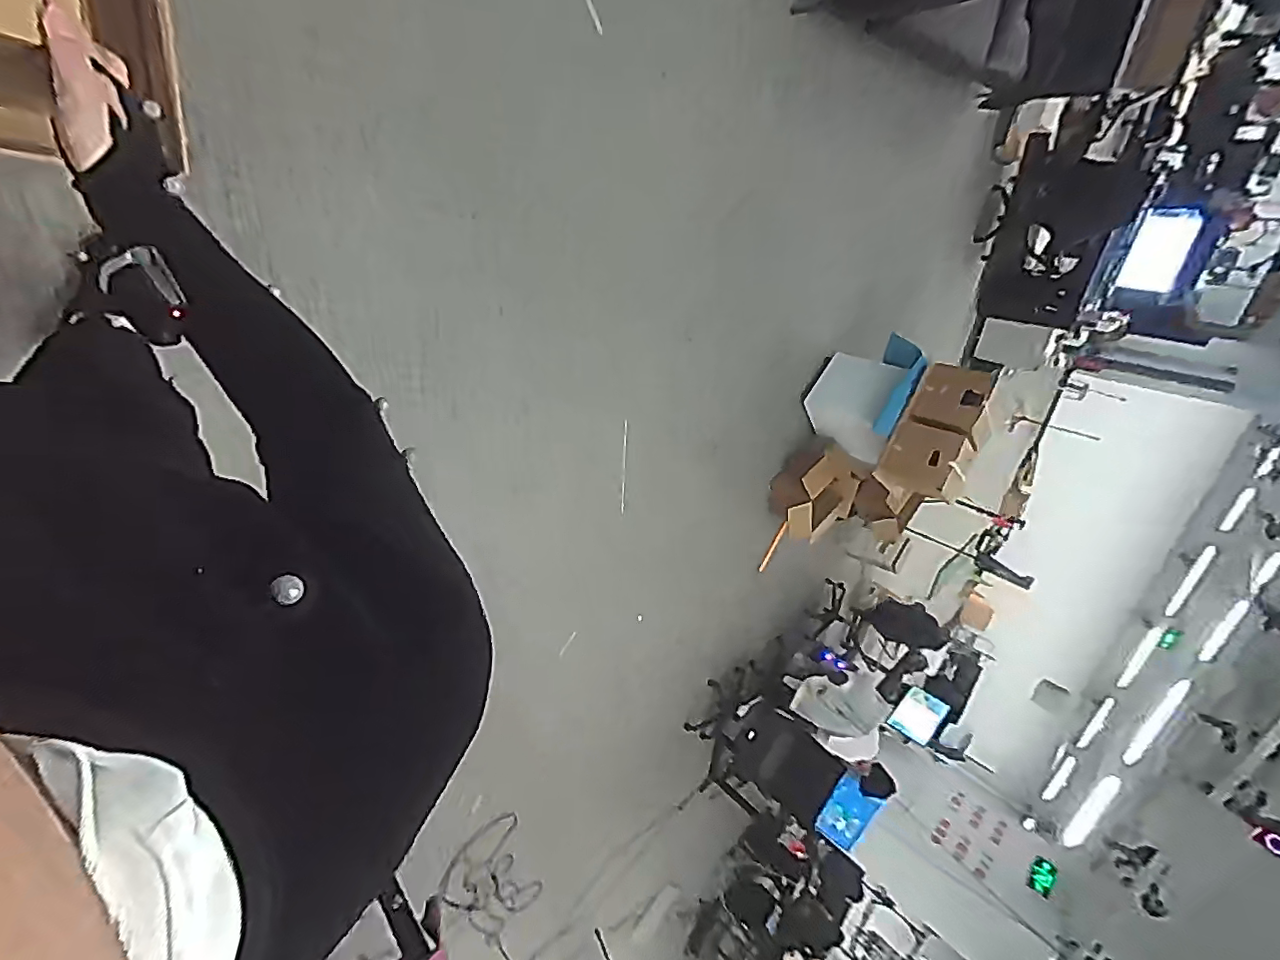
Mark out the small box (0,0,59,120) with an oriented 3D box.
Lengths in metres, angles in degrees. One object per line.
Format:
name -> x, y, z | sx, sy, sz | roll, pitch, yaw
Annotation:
small box -> -0.538, -0.393, 0.374 | 0.168, 0.176, 0.179 | -11, 106, -45

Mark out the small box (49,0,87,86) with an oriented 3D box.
small box -> -0.736, -0.567, 0.592 | 0.168, 0.176, 0.179 | -8, 118, -45
